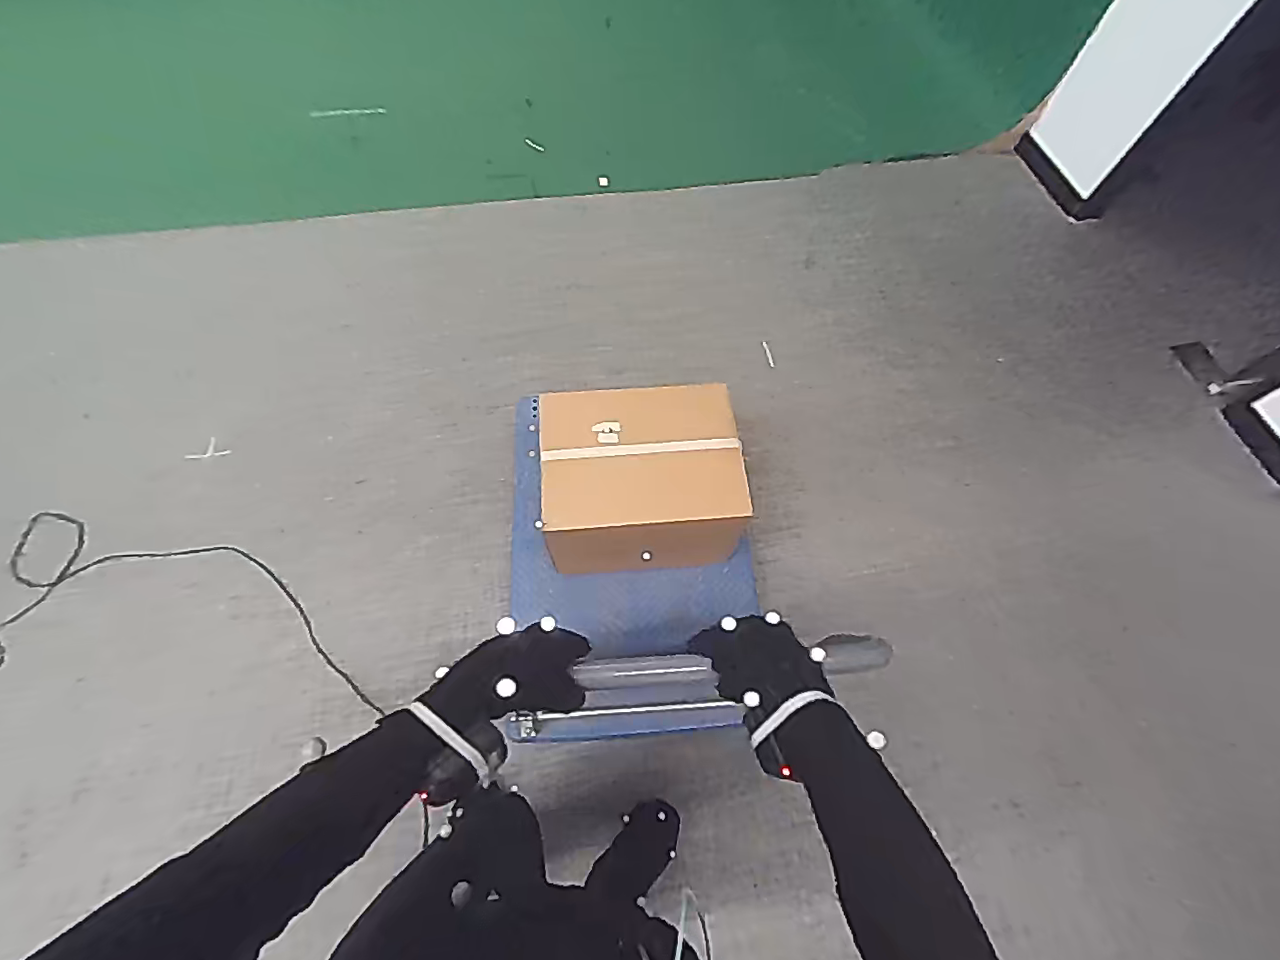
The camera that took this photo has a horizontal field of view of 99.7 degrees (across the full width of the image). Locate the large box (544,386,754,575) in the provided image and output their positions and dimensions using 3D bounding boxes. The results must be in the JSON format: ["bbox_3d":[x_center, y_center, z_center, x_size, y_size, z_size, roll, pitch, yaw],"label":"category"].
[{"bbox_3d":[0.008,0.014,1.231,0.408,0.320,0.320,-5,64,-4],"label":"large box"}]
